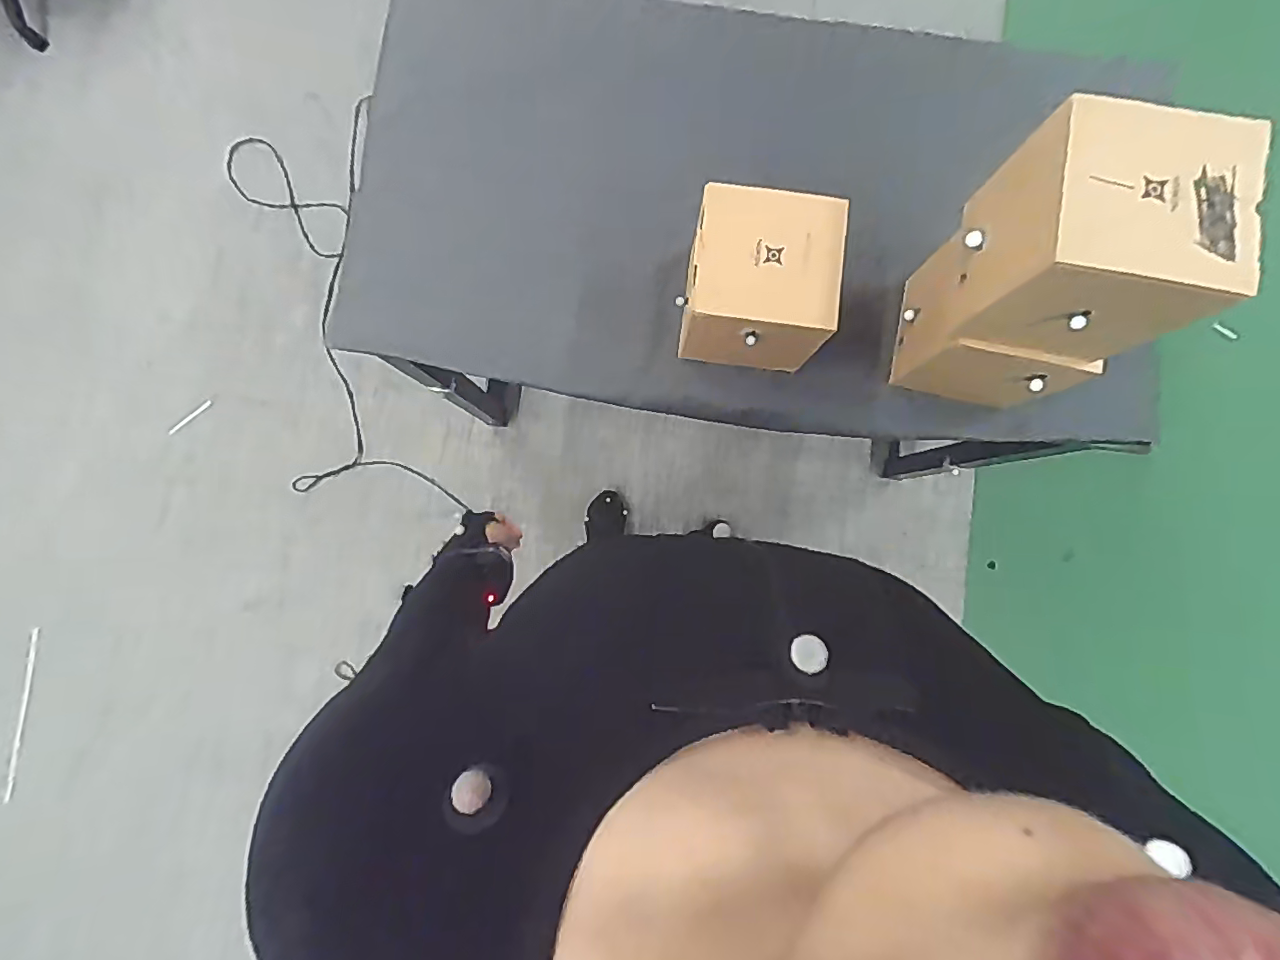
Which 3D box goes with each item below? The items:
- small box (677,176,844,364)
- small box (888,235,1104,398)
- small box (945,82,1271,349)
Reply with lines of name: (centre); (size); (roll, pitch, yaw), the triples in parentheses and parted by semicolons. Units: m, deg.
small box: (0.145, -0.261, 0.709); (0.179, 0.176, 0.168); (7, 85, -1)
small box: (0.456, -0.215, 0.703); (0.179, 0.176, 0.168); (12, 84, 0)
small box: (0.446, -0.245, 0.542); (0.179, 0.176, 0.168); (10, 84, 2)
